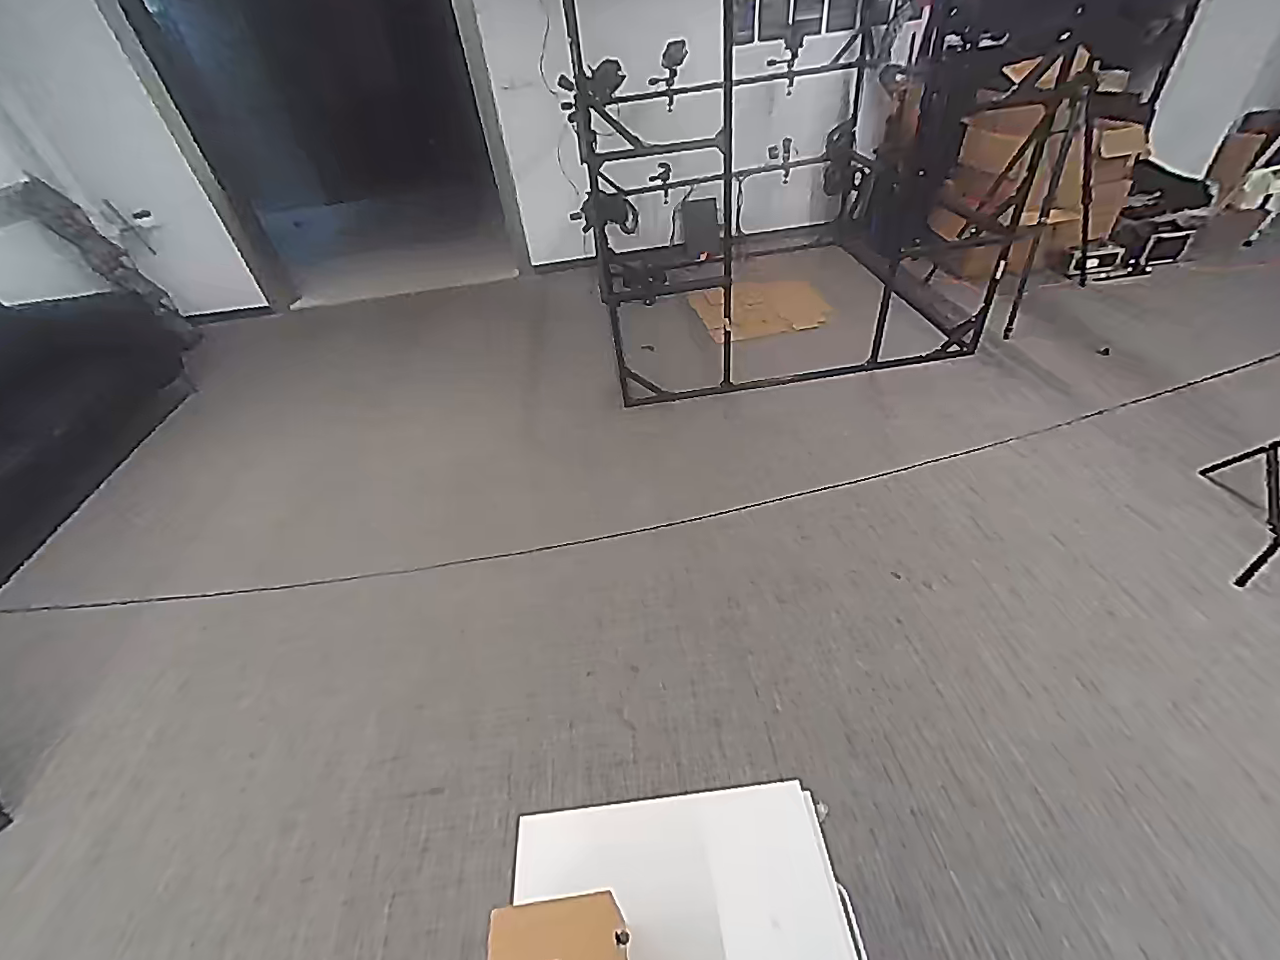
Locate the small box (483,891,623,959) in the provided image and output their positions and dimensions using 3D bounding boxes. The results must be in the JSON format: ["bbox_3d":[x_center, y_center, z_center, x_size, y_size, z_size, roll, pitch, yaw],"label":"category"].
[{"bbox_3d":[-0.111,0.684,0.721,0.168,0.176,0.179,-8,40,0],"label":"small box"}]
